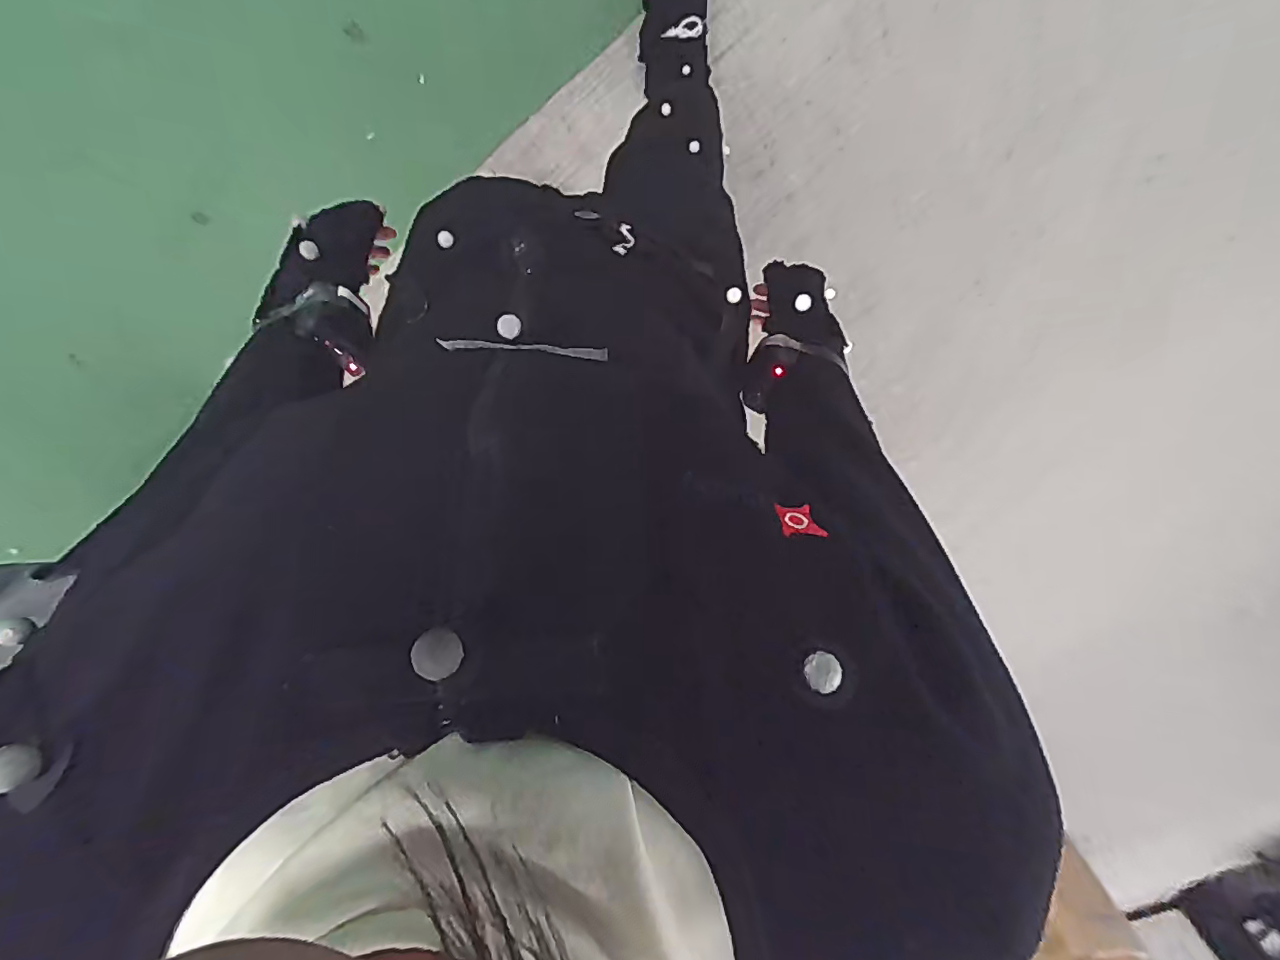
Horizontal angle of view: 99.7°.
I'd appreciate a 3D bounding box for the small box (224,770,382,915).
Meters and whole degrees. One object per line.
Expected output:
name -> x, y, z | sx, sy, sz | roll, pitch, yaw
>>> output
small box -> -0.636, 0.698, 1.044 | 0.179, 0.176, 0.168 | -34, 122, 18
